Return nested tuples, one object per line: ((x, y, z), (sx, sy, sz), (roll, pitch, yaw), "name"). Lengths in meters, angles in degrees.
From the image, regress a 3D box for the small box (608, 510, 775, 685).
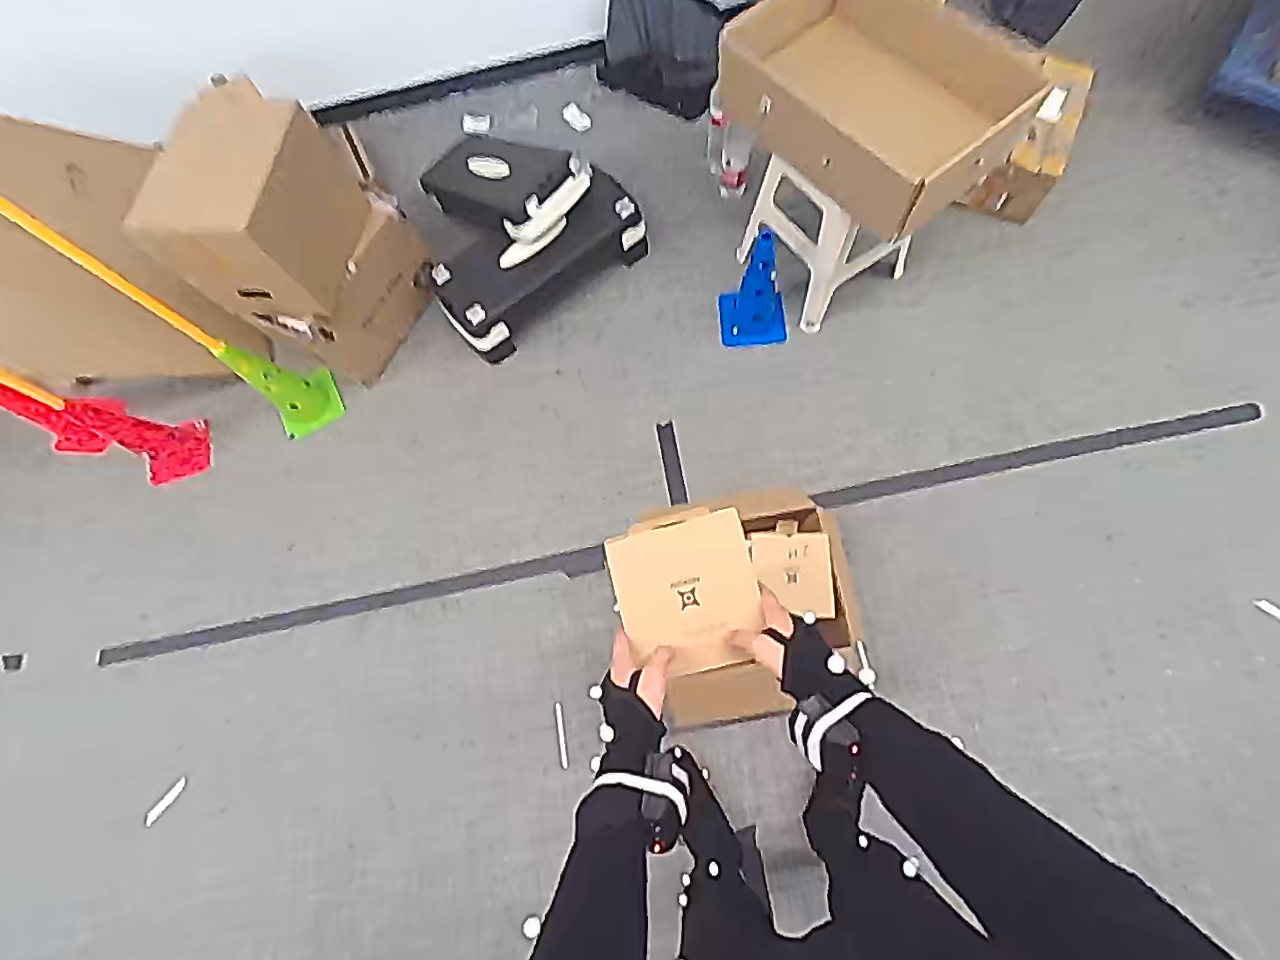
((0.064, 0.153, 0.712), (0.168, 0.176, 0.179), (-15, 77, 3), "small box")
